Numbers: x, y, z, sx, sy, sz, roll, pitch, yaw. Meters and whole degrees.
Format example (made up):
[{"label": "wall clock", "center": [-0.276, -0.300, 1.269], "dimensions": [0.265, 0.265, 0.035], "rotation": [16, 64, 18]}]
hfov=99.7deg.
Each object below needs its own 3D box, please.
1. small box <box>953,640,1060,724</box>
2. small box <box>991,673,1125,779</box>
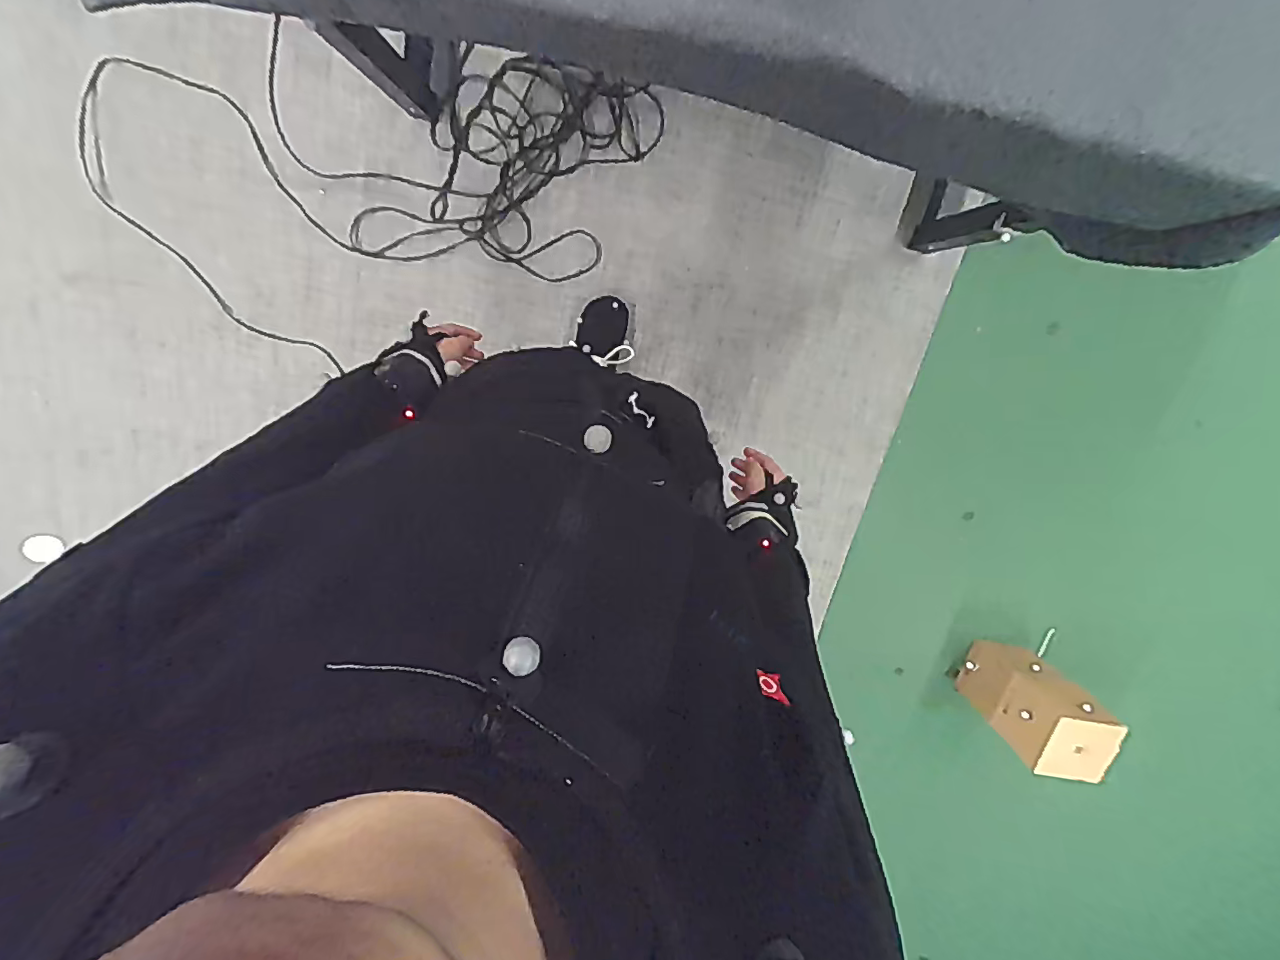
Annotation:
[{"label": "small box", "center": [1.026, 0.569, 1.509], "dimensions": [0.179, 0.176, 0.168], "rotation": [11, 106, -4]}, {"label": "small box", "center": [1.028, 0.607, 1.350], "dimensions": [0.179, 0.176, 0.168], "rotation": [10, 106, -6]}]
